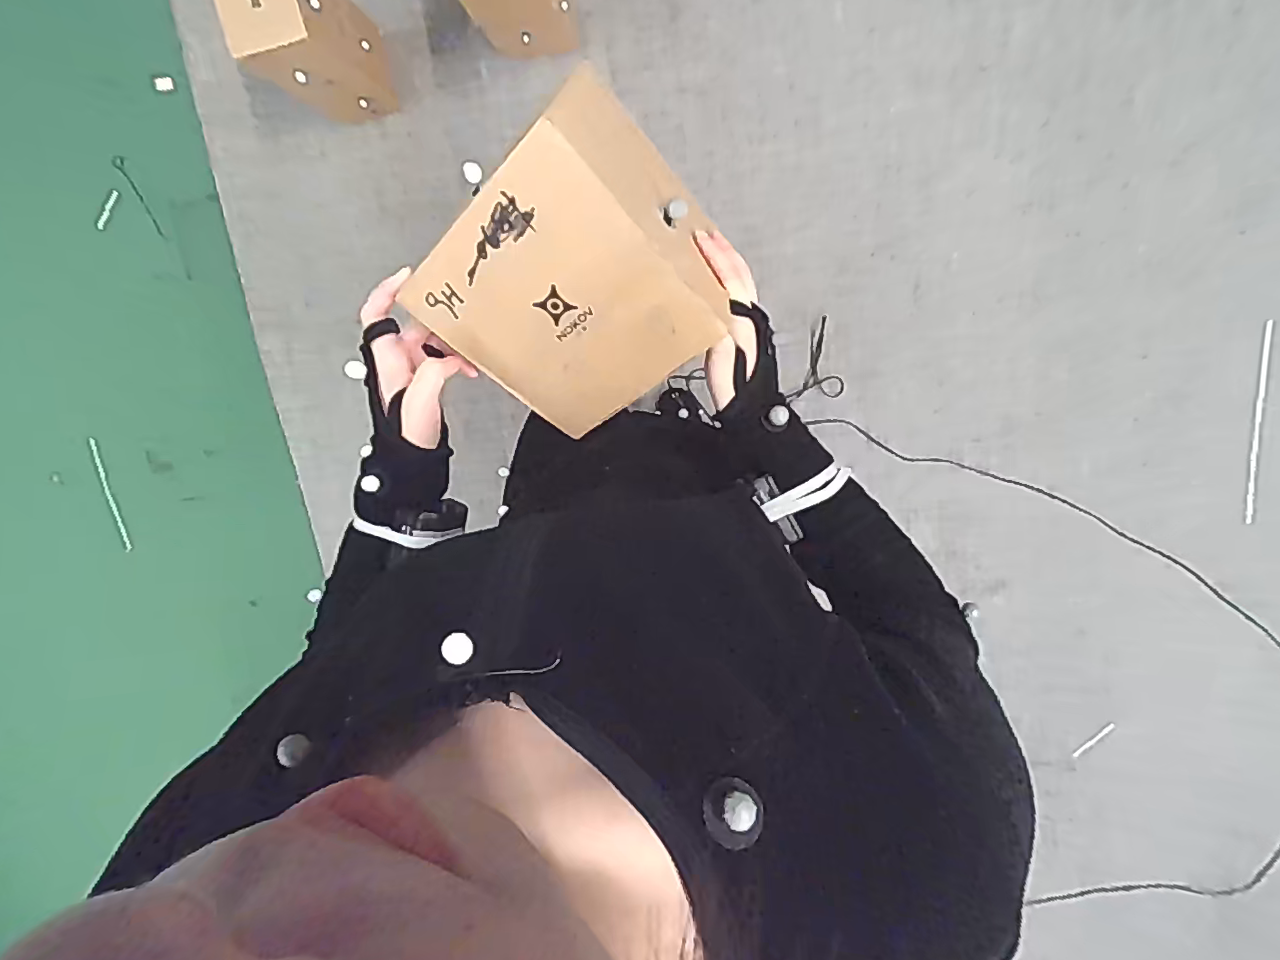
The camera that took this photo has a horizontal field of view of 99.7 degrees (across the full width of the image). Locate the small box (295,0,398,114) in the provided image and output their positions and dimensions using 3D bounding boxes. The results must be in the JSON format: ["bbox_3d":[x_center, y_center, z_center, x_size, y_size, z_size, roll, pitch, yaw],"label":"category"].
[{"bbox_3d":[-0.692,-0.983,1.256,0.168,0.176,0.179,-6,103,8],"label":"small box"}]

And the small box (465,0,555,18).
[{"bbox_3d":[-0.272,-1.022,1.026,0.179,0.176,0.168,-1,103,7],"label":"small box"}]

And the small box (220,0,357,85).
[{"bbox_3d":[-0.712,-0.941,1.099,0.168,0.176,0.179,-8,103,7],"label":"small box"}]
